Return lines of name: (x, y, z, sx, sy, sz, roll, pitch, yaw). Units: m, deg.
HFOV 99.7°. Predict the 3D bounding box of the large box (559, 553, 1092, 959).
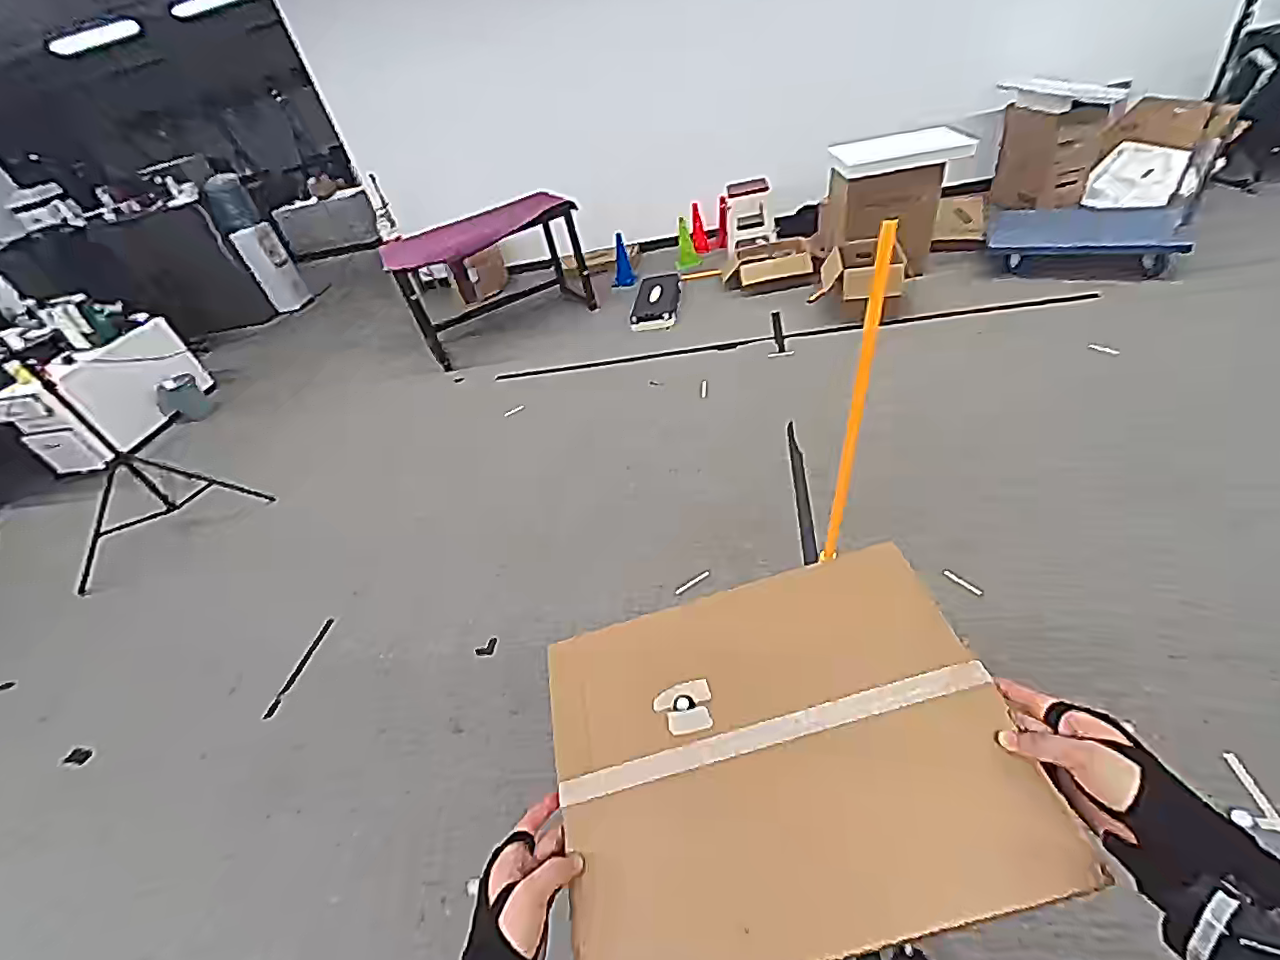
large box: (0.162, 0.344, 0.619, 0.408, 0.320, 0.320, -18, 45, 3)
